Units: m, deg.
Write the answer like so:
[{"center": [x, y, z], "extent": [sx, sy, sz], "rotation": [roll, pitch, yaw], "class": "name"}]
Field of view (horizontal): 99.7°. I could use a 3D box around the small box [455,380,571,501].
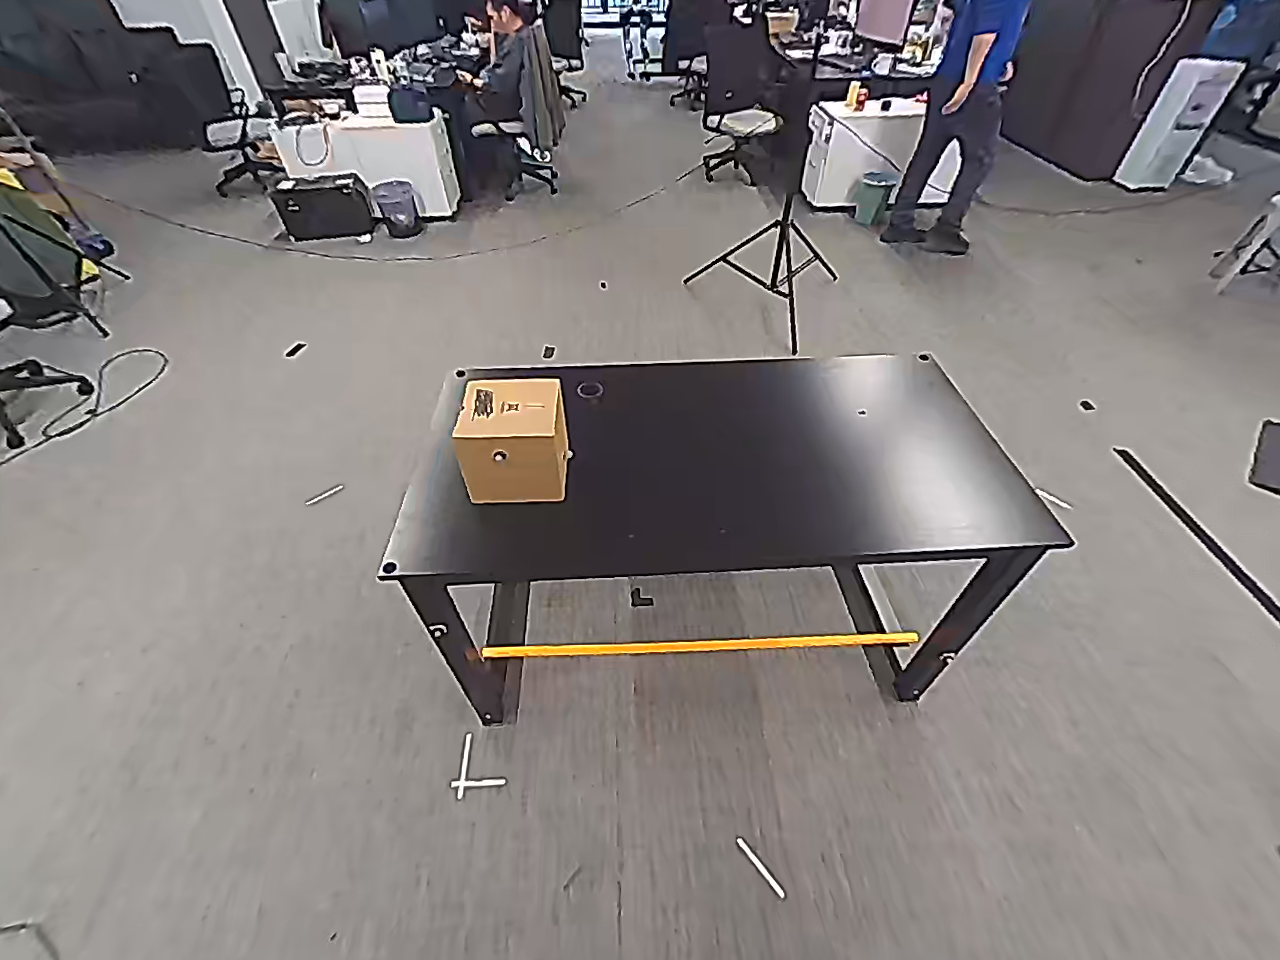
[{"center": [-0.232, -0.072, 1.030], "extent": [0.179, 0.176, 0.168], "rotation": [-1, 46, -2], "class": "small box"}]
